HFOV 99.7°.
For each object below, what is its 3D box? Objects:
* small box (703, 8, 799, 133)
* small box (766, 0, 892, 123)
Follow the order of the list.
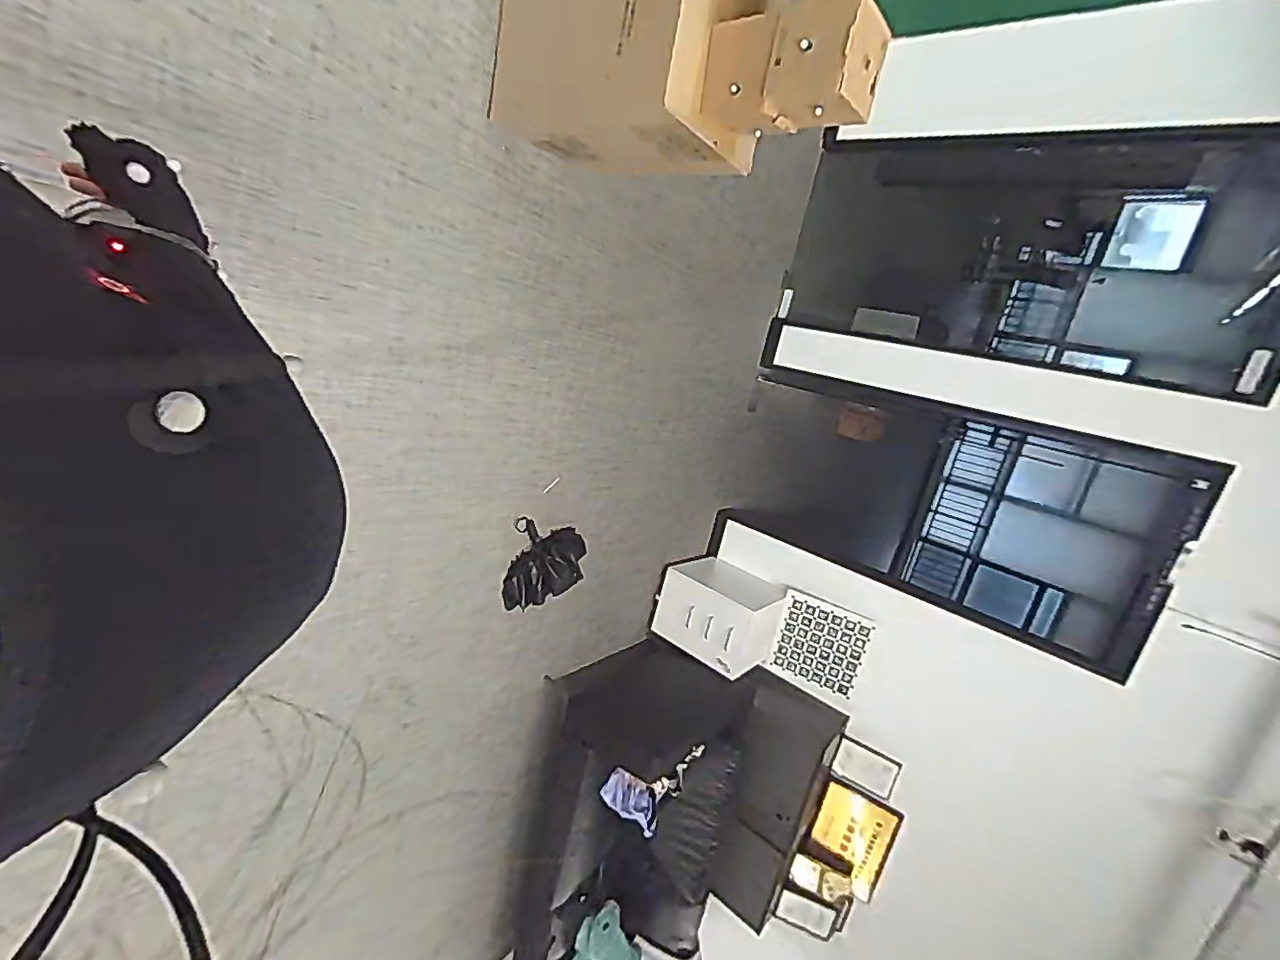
[{"bbox_3d":[0.257,-0.893,1.203,0.168,0.176,0.179,-17,121,-47],"label":"small box"},{"bbox_3d":[0.381,-0.850,1.103,0.179,0.176,0.168,-11,118,-48],"label":"small box"}]
